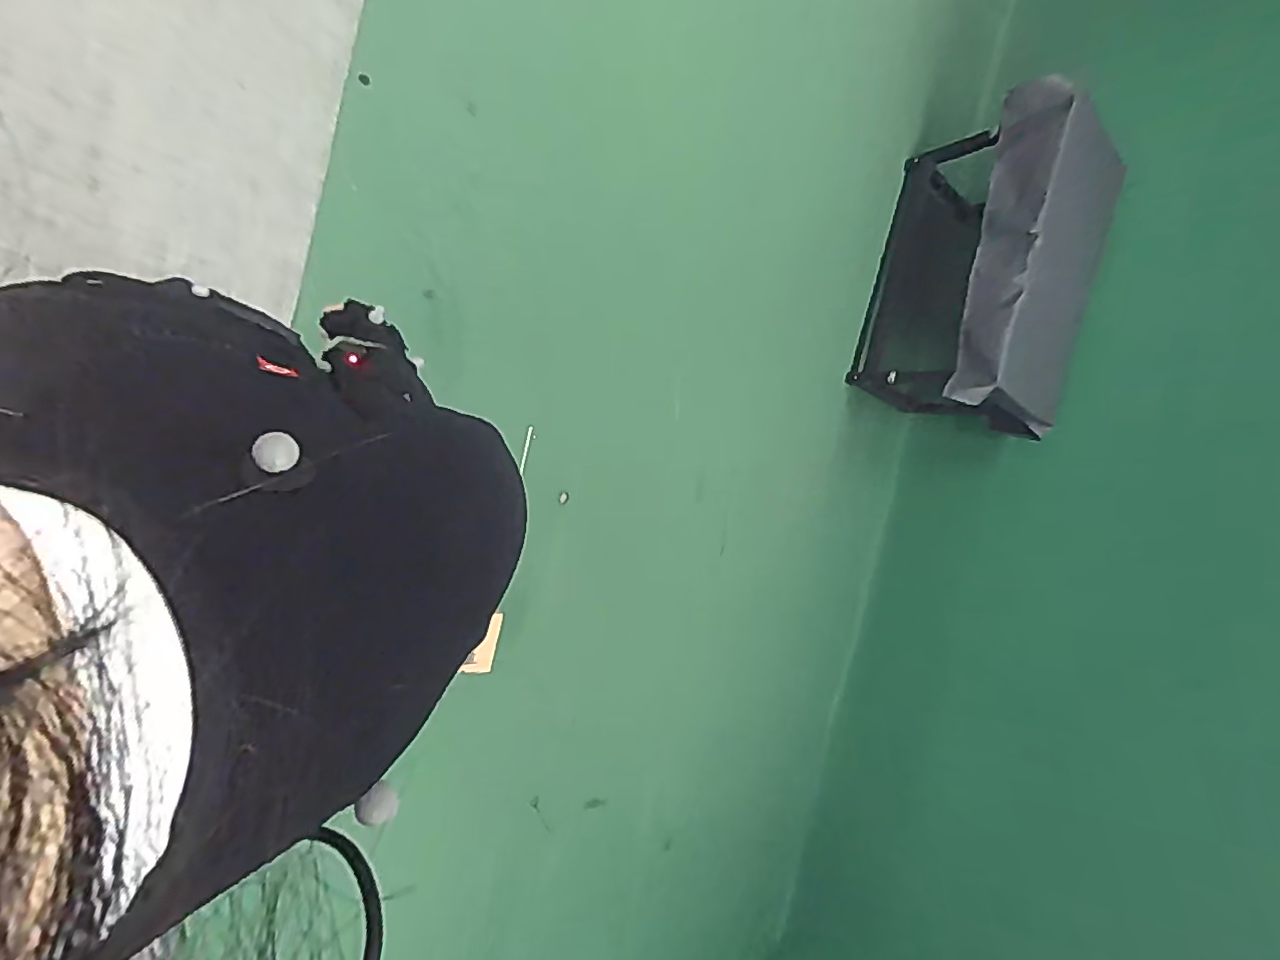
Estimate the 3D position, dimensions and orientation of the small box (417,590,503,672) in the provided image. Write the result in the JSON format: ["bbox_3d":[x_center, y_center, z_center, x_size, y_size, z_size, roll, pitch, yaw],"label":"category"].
[{"bbox_3d":[-0.524,0.433,1.558,0.168,0.176,0.179,13,91,-42],"label":"small box"}]
